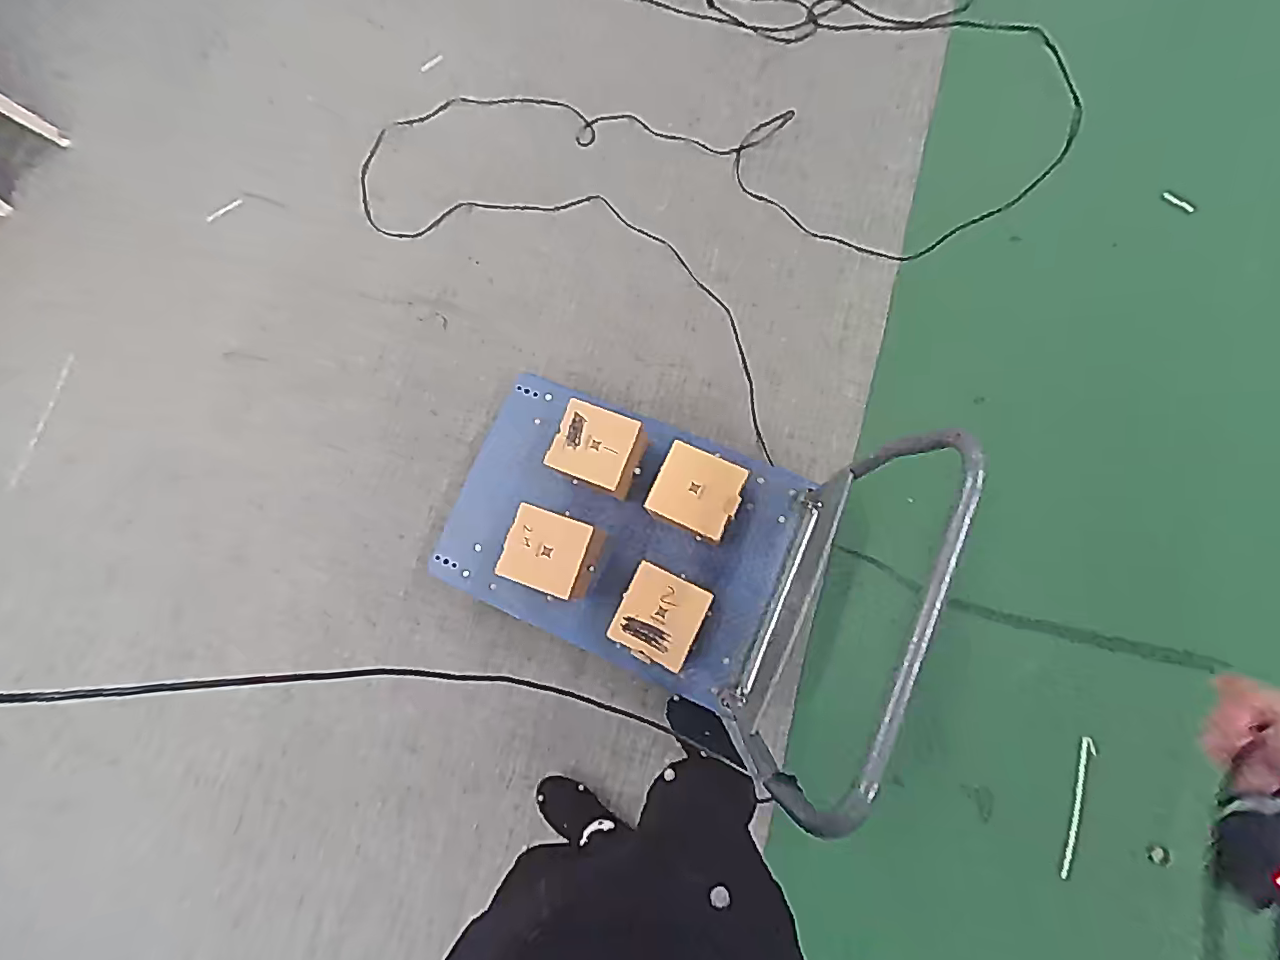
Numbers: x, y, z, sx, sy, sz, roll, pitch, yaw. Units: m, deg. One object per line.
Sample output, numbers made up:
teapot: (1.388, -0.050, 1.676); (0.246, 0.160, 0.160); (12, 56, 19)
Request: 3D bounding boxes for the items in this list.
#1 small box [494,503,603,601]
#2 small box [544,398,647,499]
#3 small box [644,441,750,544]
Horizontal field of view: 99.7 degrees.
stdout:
small box: (-0.197, 0.165, 1.230); (0.179, 0.176, 0.168); (19, 81, 9)
small box: (-0.095, -0.066, 1.264); (0.179, 0.176, 0.168); (21, 83, 9)
small box: (0.128, 0.037, 1.221); (0.179, 0.176, 0.168); (25, 83, 10)
